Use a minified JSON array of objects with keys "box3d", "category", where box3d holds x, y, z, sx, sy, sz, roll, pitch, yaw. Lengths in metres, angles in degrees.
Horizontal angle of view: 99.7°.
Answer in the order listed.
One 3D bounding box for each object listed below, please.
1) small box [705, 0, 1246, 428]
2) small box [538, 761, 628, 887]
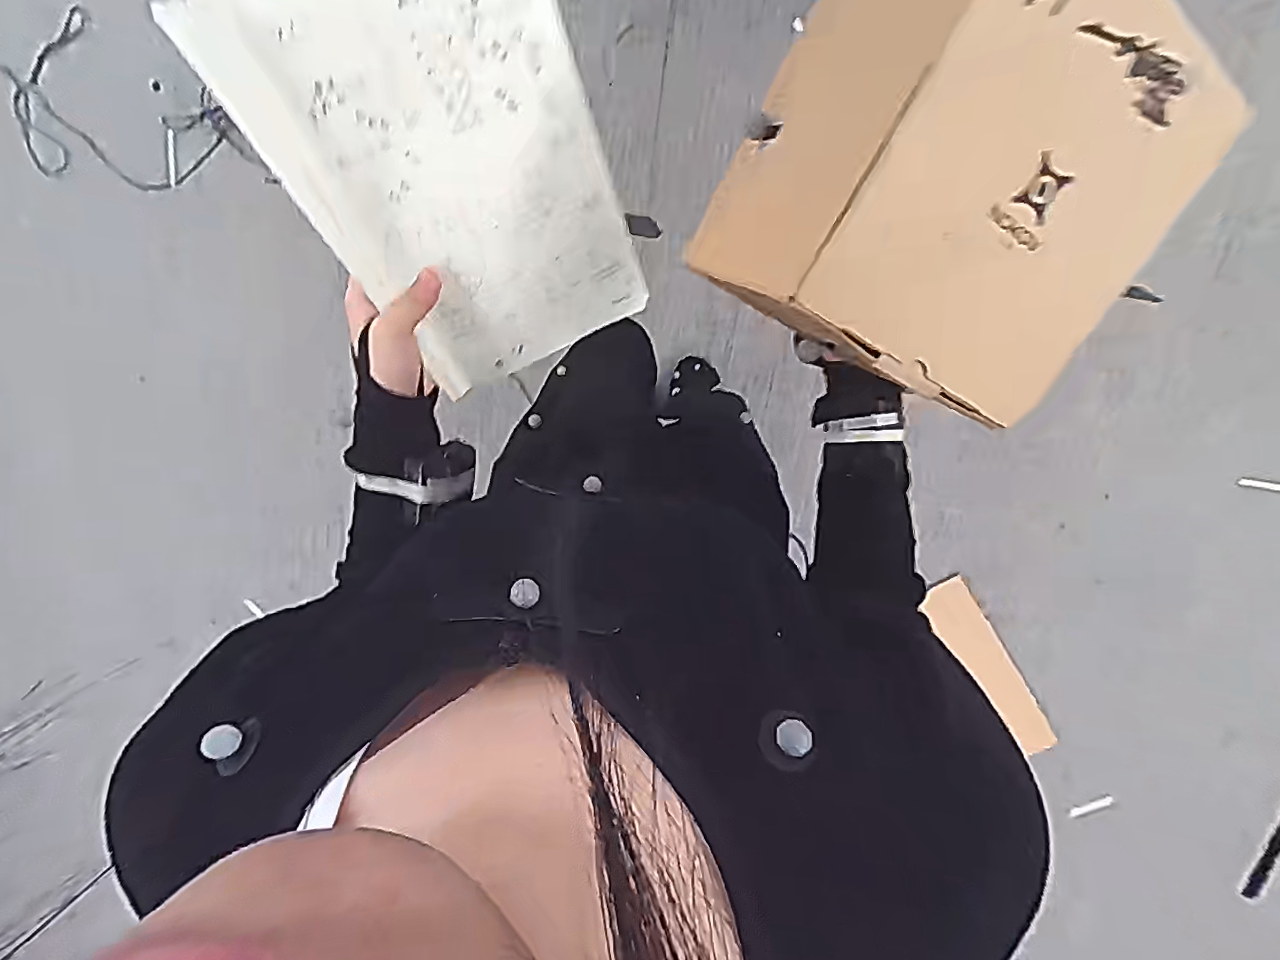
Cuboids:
[{"box3d":[0.157,-0.162,0.317,0.168,0.176,0.179,21,110,-24],"category":"small box"},{"box3d":[-0.131,0.823,1.310,0.168,0.176,0.179,15,104,2],"category":"small box"}]
